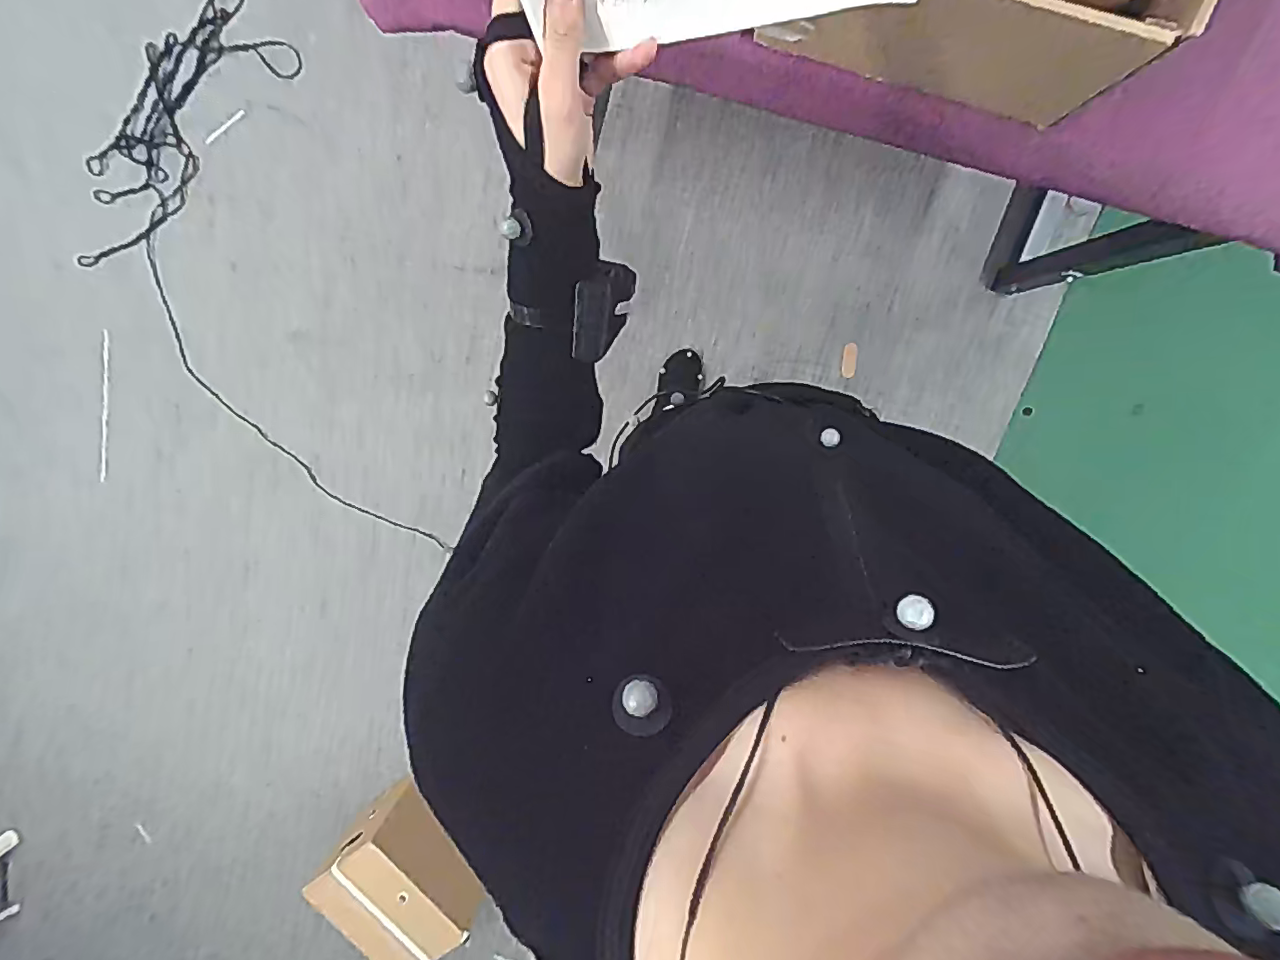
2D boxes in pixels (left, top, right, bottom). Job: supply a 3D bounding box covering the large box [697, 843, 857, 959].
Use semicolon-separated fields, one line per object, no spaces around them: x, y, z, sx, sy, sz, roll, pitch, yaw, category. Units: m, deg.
0.375;1.333;1.590;0.408;0.320;0.320;2;102;4;large box
